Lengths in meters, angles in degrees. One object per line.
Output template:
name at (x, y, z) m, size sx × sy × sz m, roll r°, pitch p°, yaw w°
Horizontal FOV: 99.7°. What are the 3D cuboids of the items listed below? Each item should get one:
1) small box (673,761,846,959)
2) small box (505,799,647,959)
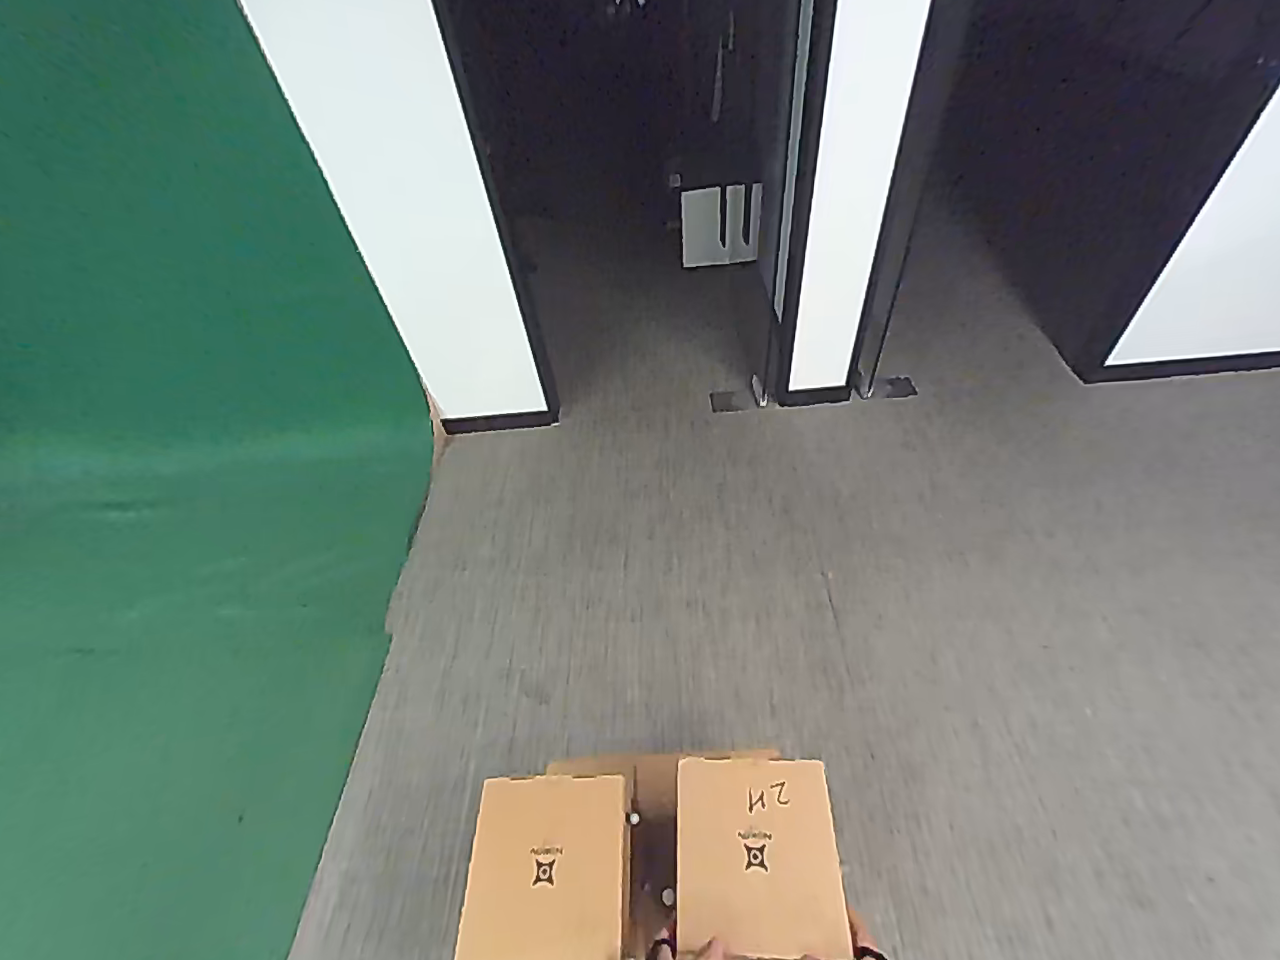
small box at (0.130, 0.446, 0.627) m, size 0.168 × 0.176 × 0.179 m, roll -1°, pitch 48°, yaw 8°
small box at (-0.078, 0.572, 0.769) m, size 0.168 × 0.176 × 0.179 m, roll -3°, pitch 49°, yaw 4°
